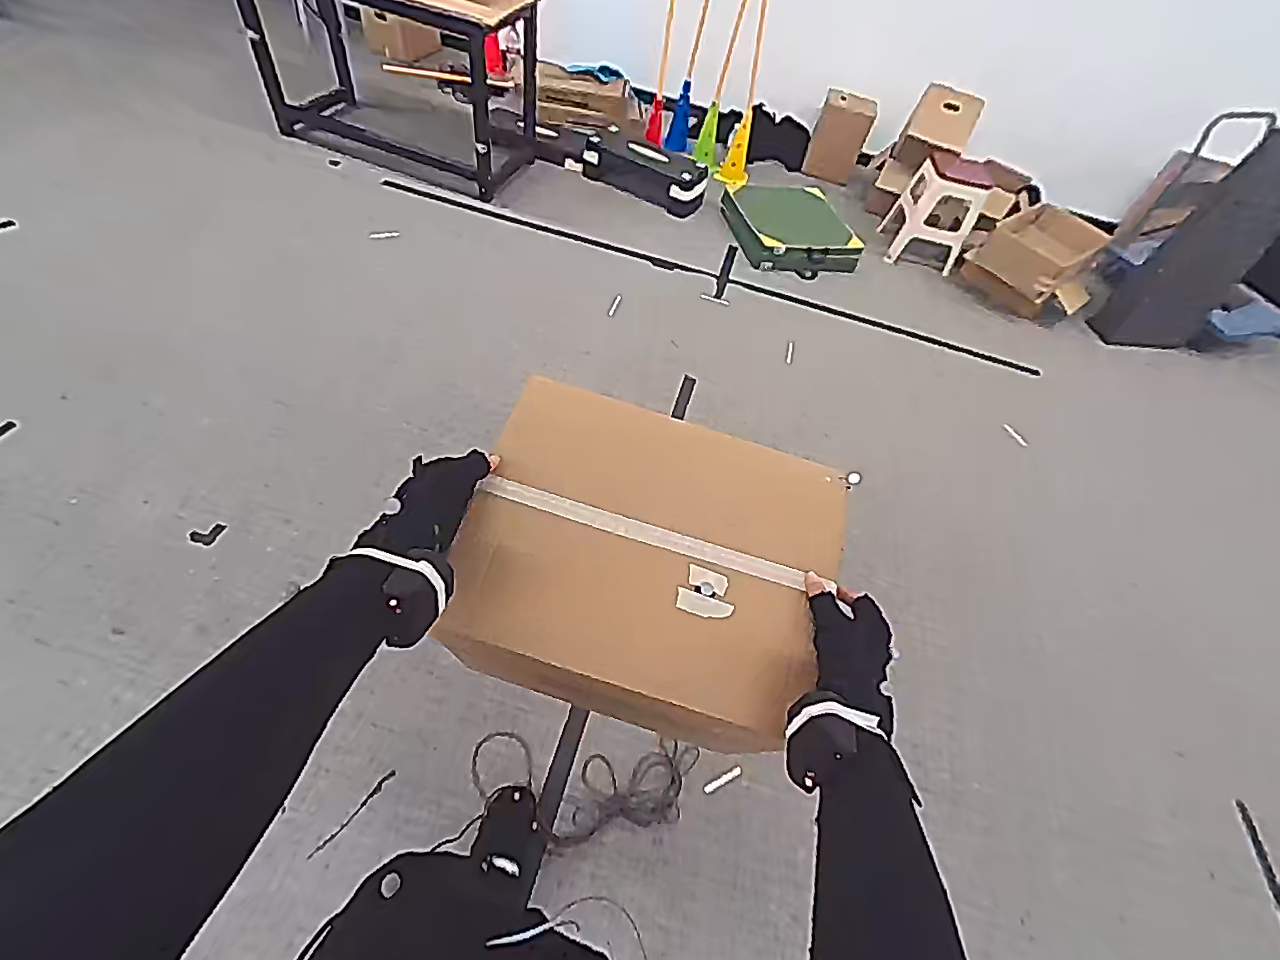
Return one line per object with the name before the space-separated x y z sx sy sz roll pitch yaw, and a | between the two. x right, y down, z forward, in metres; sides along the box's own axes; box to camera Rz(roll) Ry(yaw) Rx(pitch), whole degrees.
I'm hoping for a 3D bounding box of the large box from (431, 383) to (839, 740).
large box | -0.001 0.128 0.732 0.408 0.320 0.320 18 63 1
